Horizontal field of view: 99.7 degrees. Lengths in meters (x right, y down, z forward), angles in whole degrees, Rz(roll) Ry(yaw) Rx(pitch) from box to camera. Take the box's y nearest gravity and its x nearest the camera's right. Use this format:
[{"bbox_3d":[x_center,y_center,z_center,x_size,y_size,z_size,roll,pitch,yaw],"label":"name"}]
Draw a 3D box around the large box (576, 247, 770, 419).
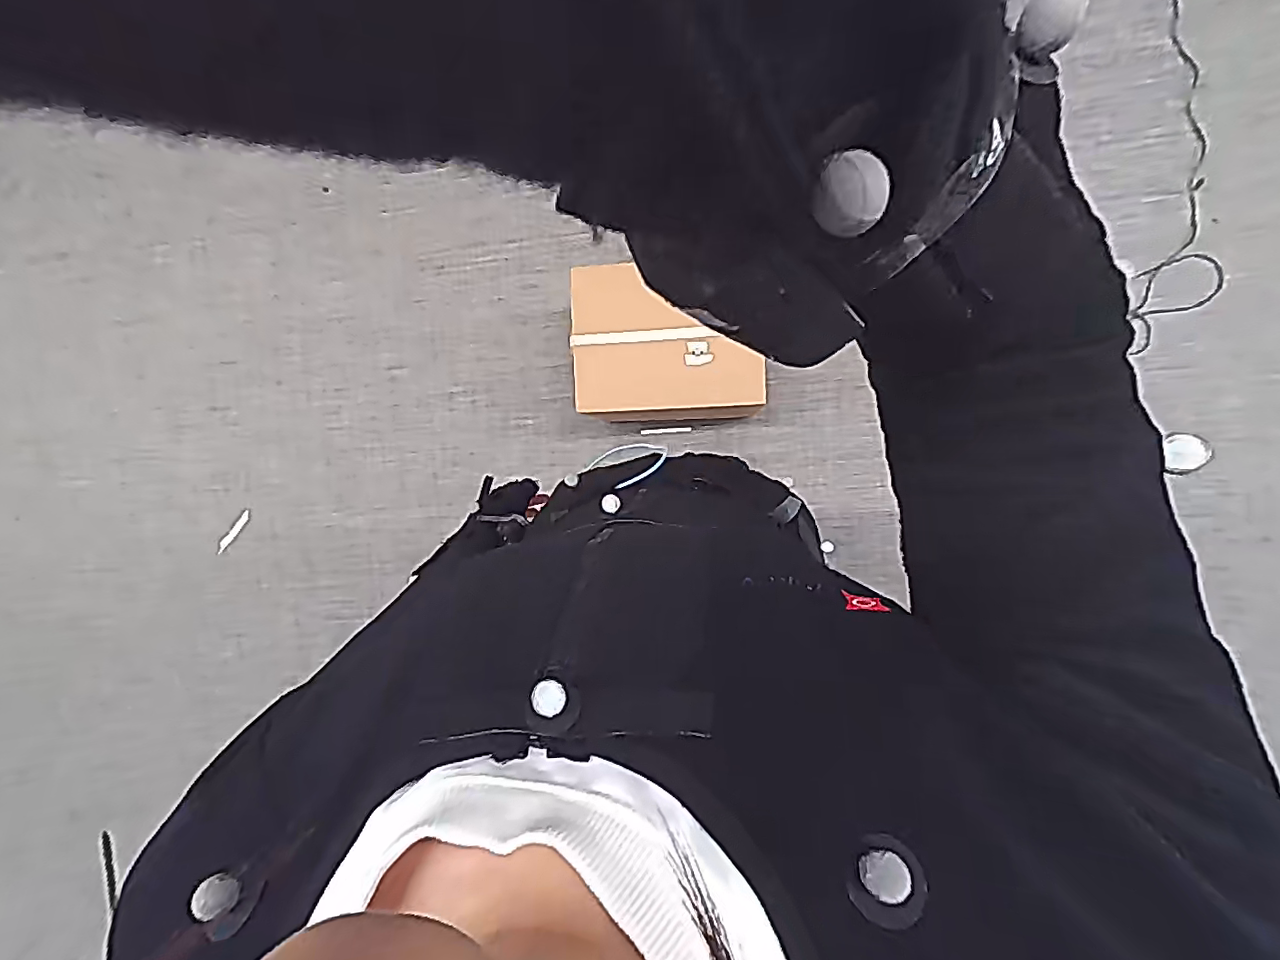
[{"bbox_3d":[0.081,-0.322,1.286,0.408,0.320,0.320,-2,92,6],"label":"large box"}]
